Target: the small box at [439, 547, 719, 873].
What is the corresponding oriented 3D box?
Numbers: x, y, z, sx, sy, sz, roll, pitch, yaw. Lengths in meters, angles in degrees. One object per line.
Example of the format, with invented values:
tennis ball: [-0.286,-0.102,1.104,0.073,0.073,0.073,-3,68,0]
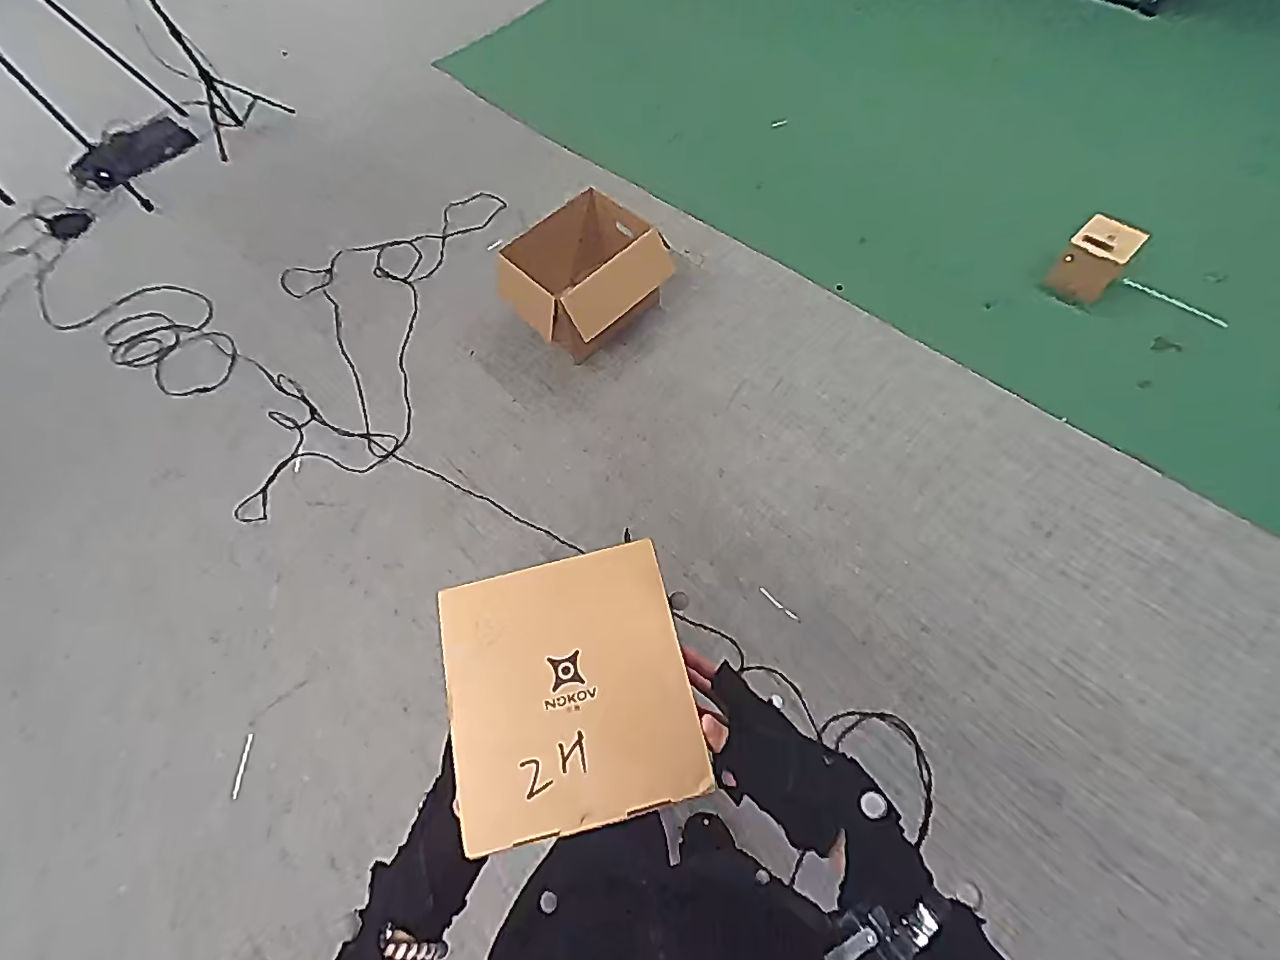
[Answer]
small box: [-0.045,0.174,0.435,0.168,0.176,0.179,-13,68,-2]
